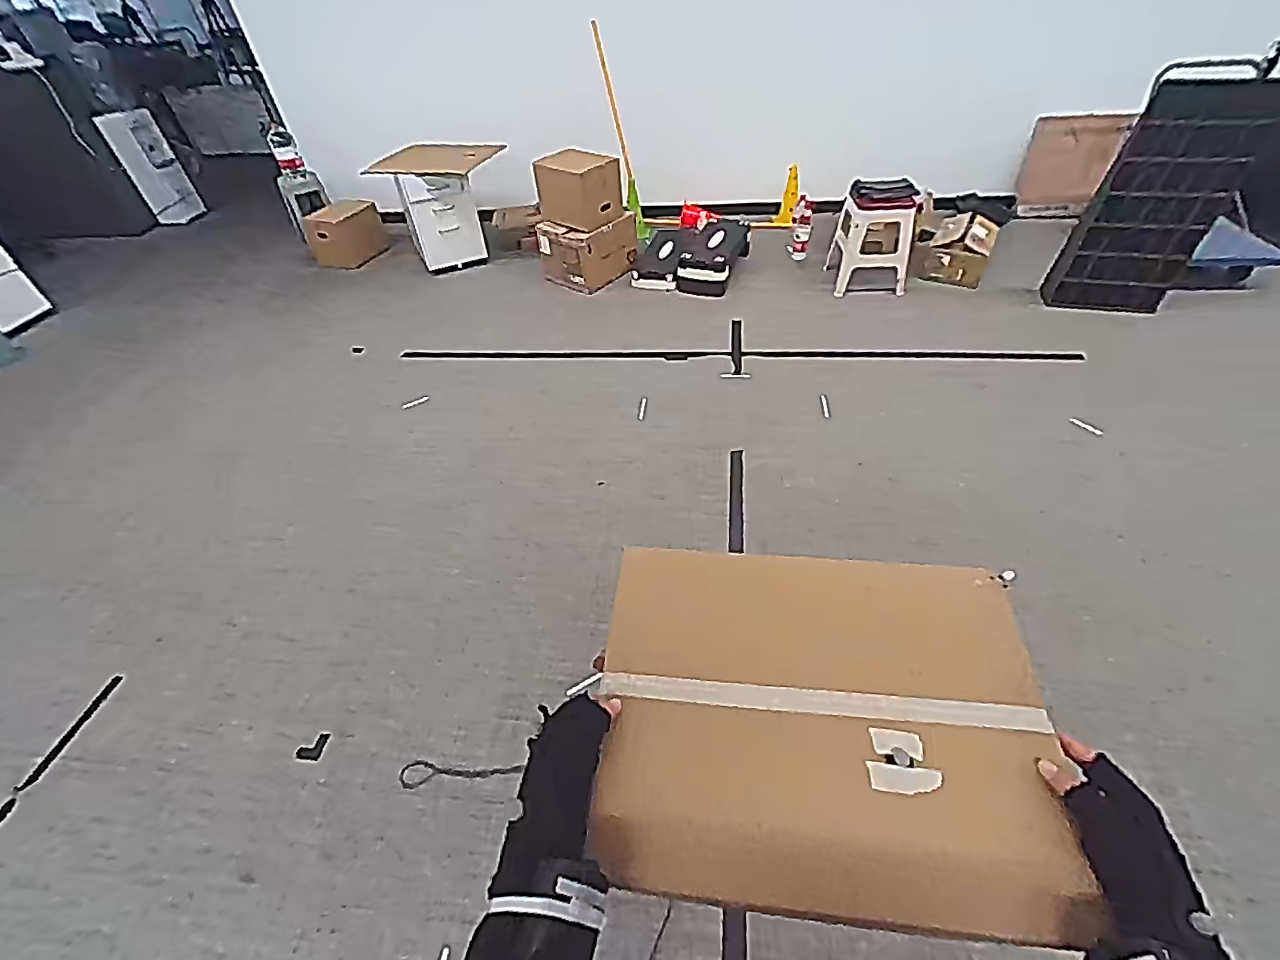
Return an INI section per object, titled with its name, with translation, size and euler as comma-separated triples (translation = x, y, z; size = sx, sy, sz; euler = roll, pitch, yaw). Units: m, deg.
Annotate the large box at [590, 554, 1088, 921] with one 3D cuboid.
[large box]
translation = 0.174, 0.306, 0.645
size = 0.408, 0.320, 0.320
euler = 3, 53, 7
